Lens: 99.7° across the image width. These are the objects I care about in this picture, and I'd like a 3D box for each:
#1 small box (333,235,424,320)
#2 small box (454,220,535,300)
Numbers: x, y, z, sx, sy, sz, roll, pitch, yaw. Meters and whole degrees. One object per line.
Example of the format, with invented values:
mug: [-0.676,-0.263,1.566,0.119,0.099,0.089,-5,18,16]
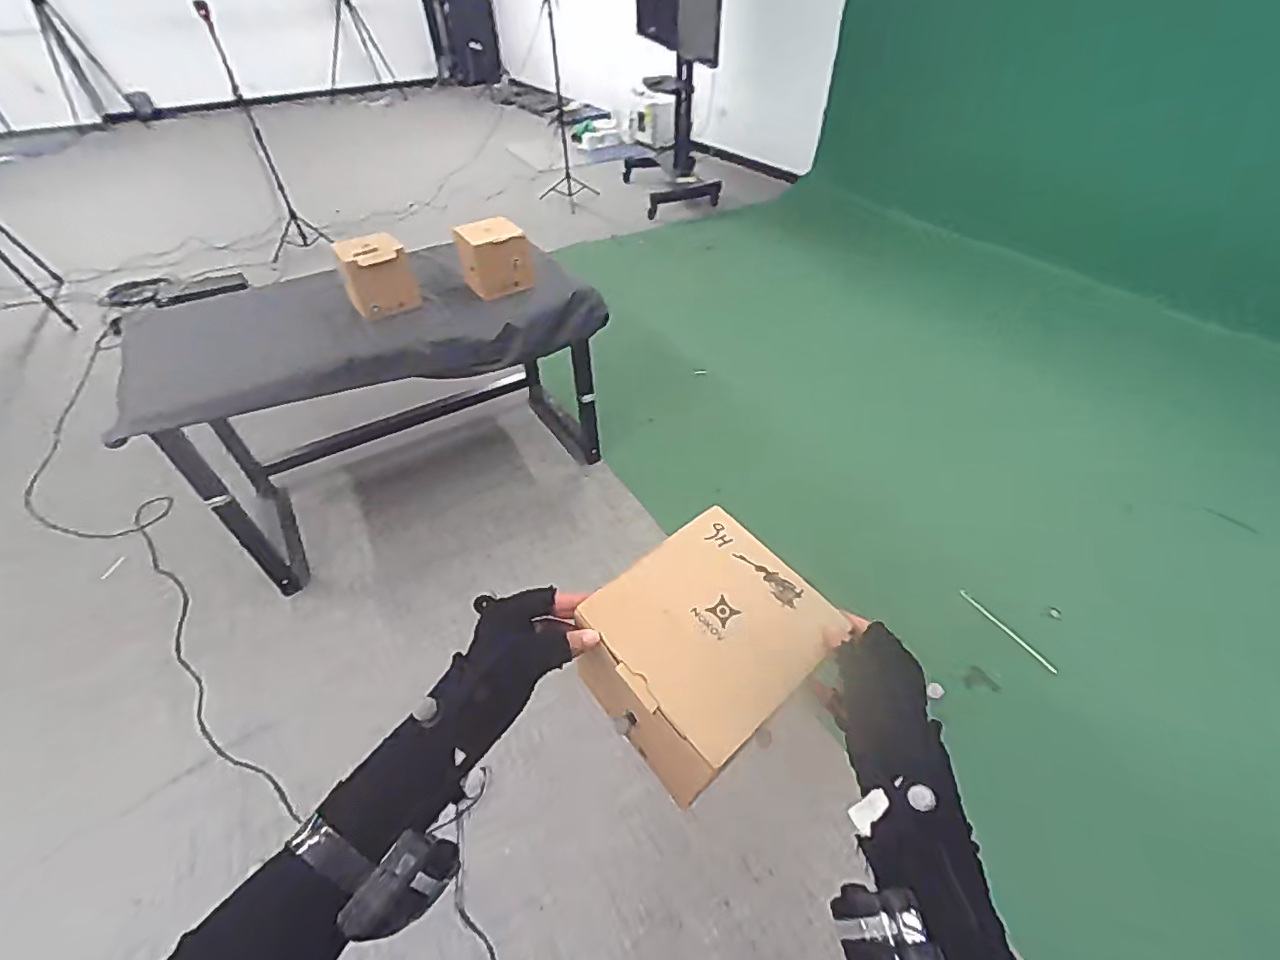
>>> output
small box: [-0.751,-0.582,1.565,0.168,0.176,0.179,-28,49,-24]
small box: [-0.436,-0.664,1.640,0.168,0.176,0.179,-26,47,-24]
